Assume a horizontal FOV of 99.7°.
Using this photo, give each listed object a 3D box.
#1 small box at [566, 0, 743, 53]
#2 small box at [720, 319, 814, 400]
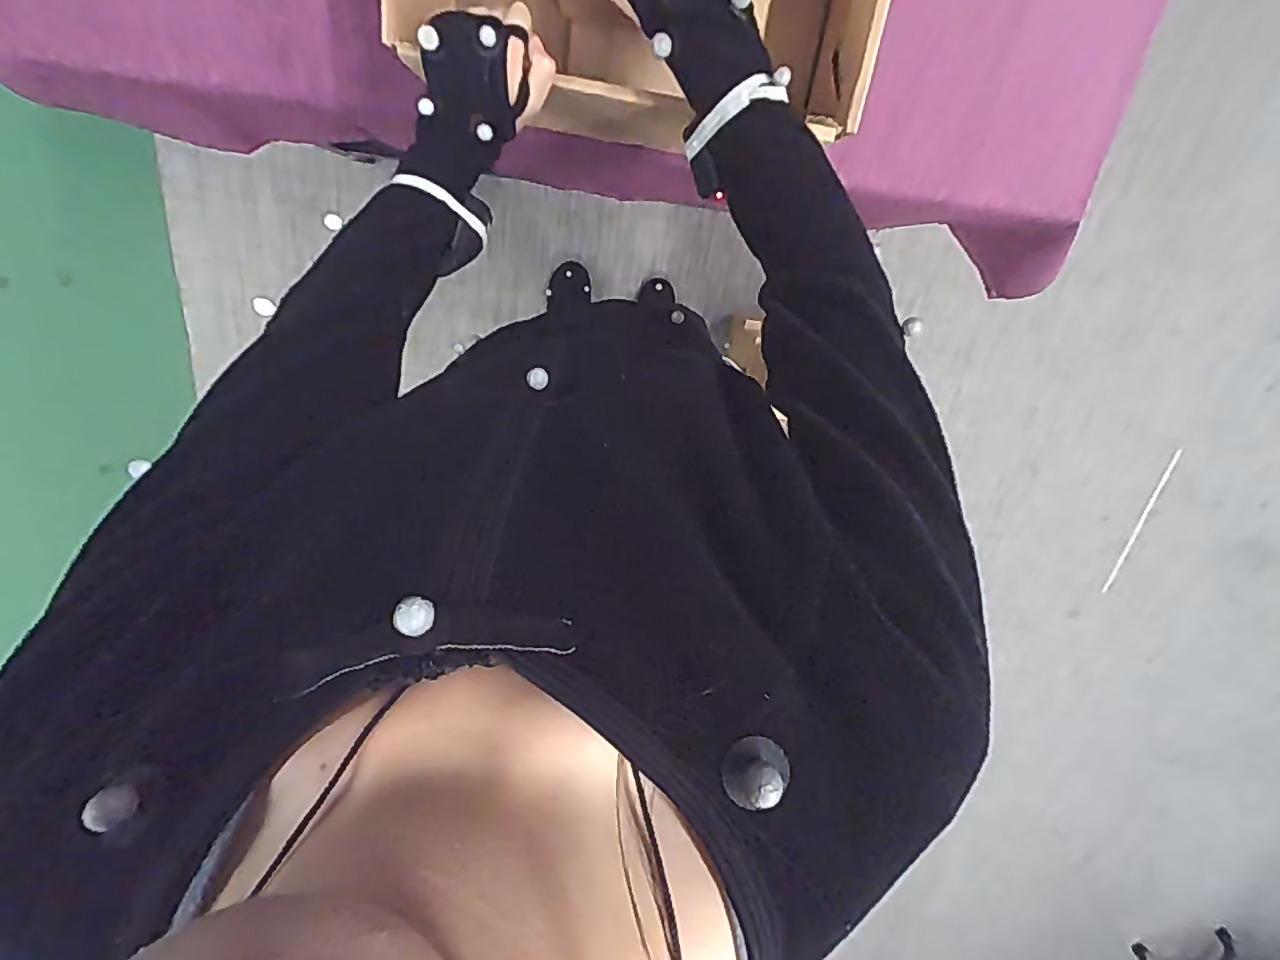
[{"bbox_3d":[0.021,-0.493,0.443,0.168,0.176,0.179,8,109,-4],"label":"small box"},{"bbox_3d":[0.312,-0.309,1.363,0.179,0.176,0.168,6,111,-3],"label":"small box"}]
